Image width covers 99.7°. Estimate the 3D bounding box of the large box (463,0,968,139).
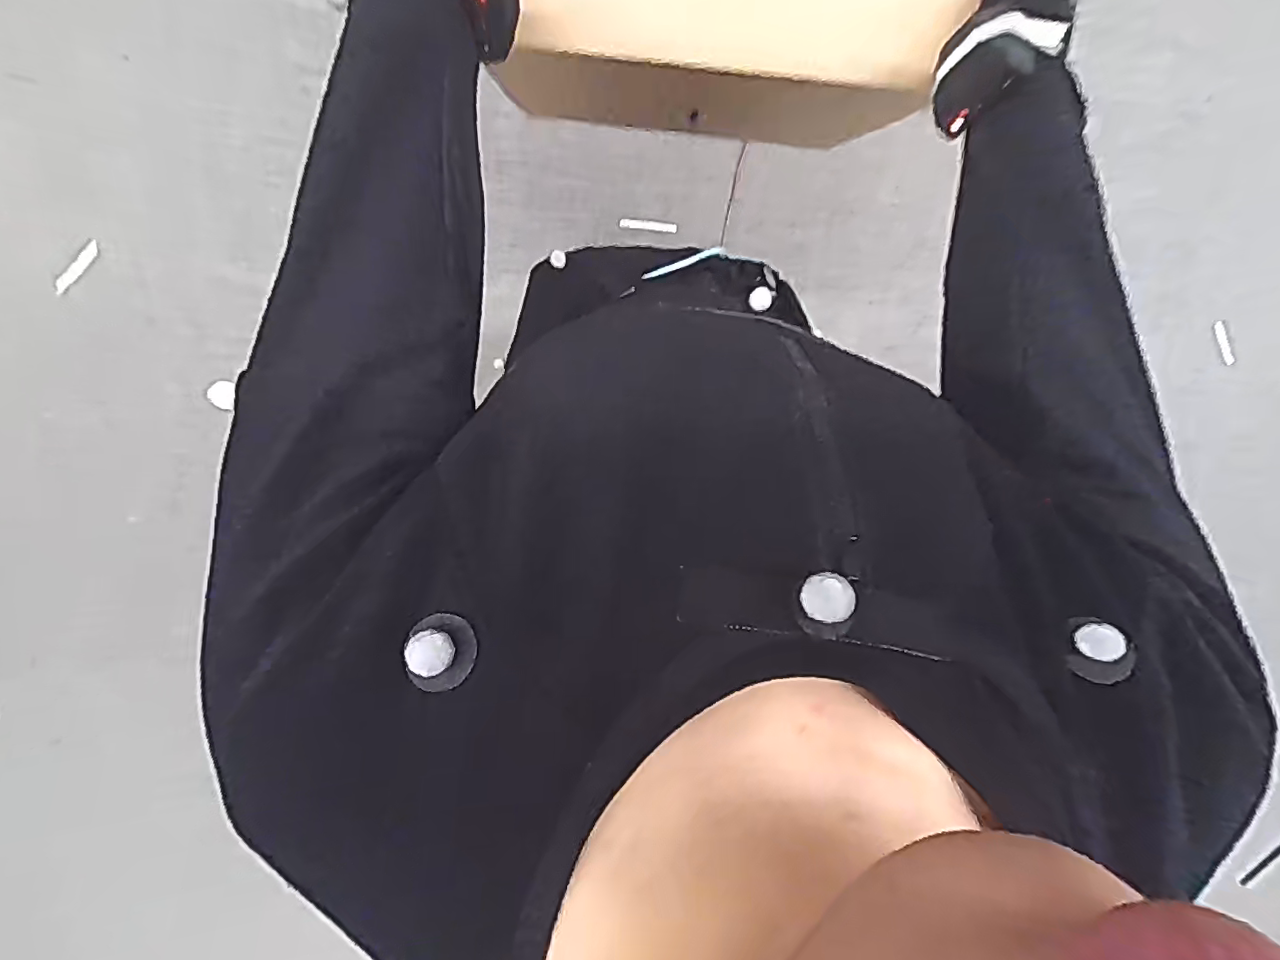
[{"bbox_3d":[0.070,-0.540,0.513,0.408,0.320,0.320,5,113,-3],"label":"large box"}]
